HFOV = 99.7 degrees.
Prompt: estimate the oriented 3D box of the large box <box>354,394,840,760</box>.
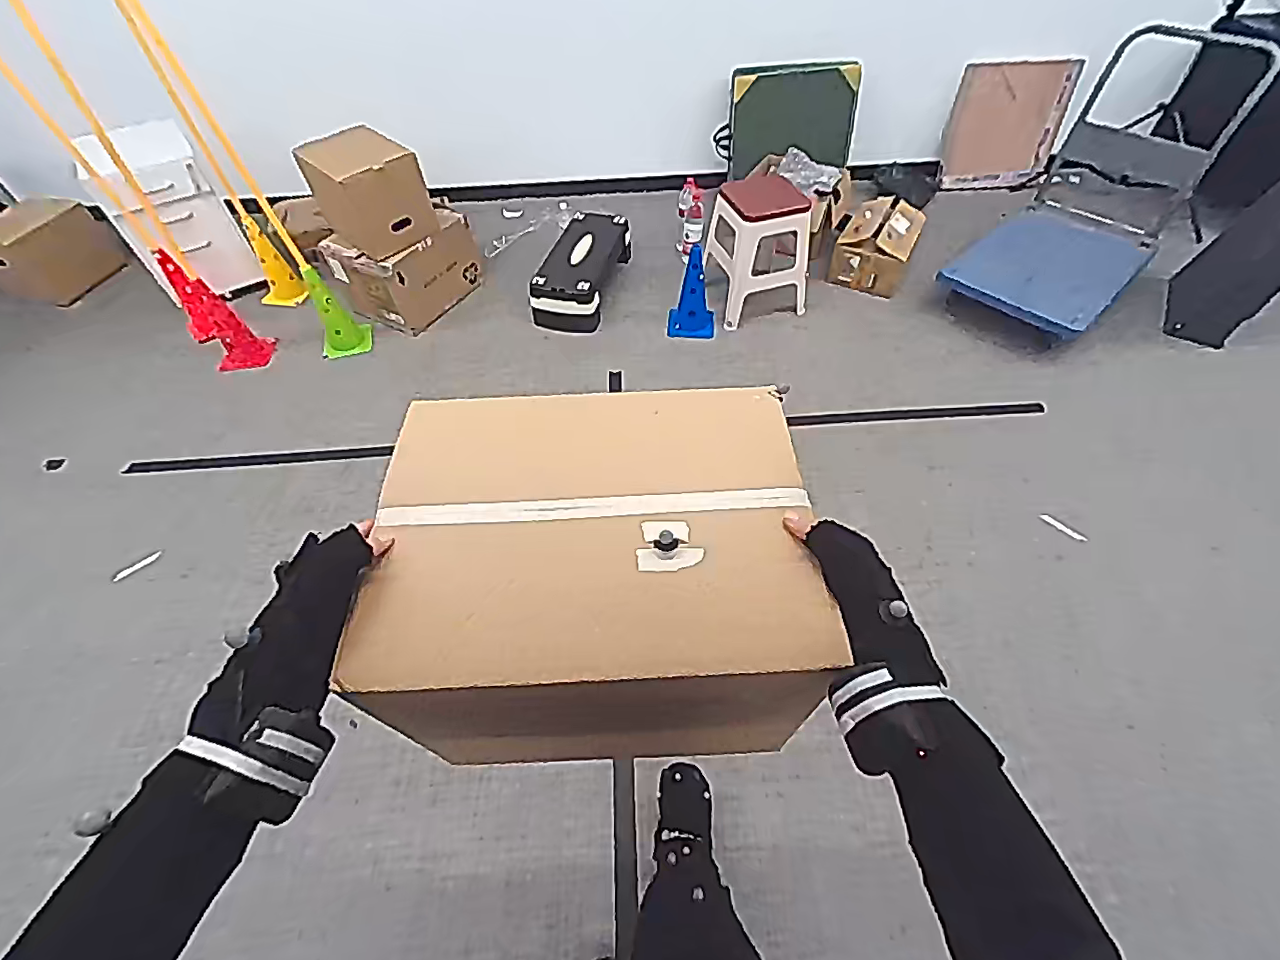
[{"bbox_3d":[-0.039,0.122,0.641,0.408,0.320,0.320,-2,53,-1],"label":"large box"}]
